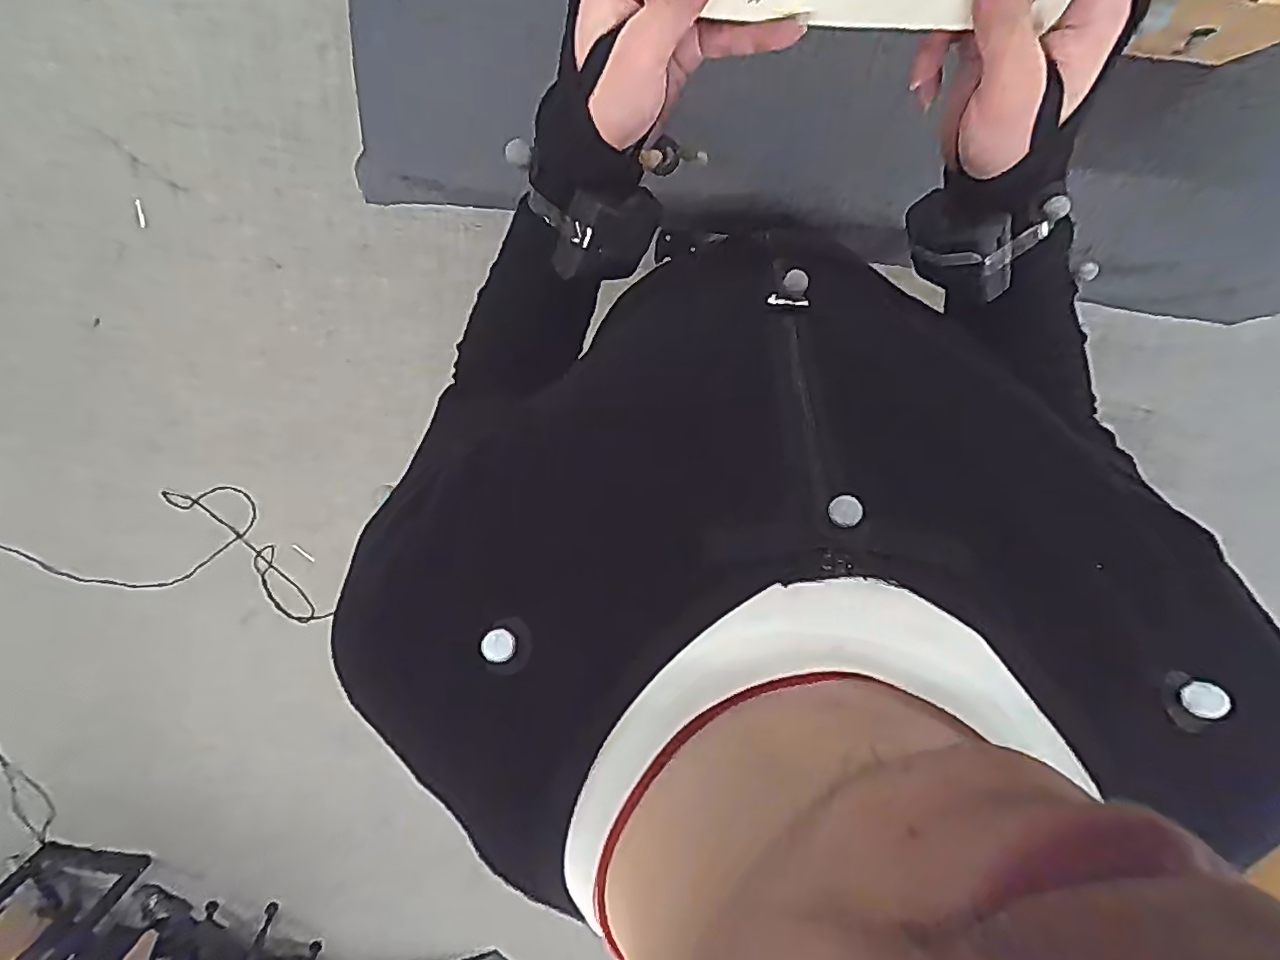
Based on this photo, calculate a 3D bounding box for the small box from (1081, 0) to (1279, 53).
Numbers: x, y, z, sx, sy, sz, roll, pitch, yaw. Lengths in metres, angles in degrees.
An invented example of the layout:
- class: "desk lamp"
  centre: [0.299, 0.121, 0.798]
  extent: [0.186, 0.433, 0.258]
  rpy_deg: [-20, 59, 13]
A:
- class: "small box"
  centre: [0.560, -0.520, 0.492]
  extent: [0.168, 0.176, 0.179]
  rpy_deg: [8, 116, 2]
